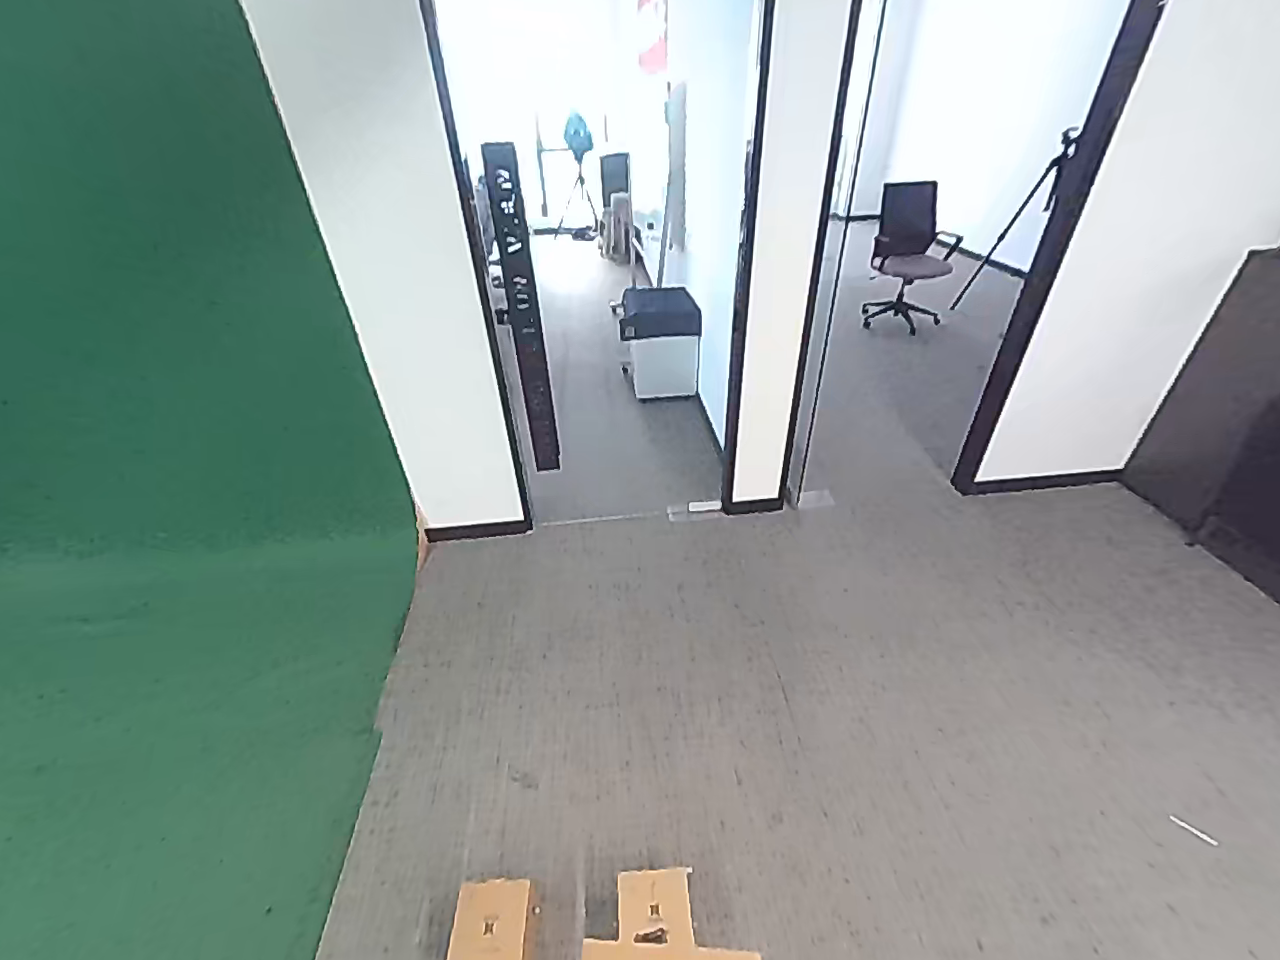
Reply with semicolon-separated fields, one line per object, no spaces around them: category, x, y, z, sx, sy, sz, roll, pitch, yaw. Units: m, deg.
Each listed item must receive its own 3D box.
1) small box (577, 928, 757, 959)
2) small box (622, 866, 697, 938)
small box;0.020;0.539;0.483;0.168;0.176;0.179;1;38;4
small box;0.047;1.040;1.263;0.168;0.176;0.179;-4;35;-1
